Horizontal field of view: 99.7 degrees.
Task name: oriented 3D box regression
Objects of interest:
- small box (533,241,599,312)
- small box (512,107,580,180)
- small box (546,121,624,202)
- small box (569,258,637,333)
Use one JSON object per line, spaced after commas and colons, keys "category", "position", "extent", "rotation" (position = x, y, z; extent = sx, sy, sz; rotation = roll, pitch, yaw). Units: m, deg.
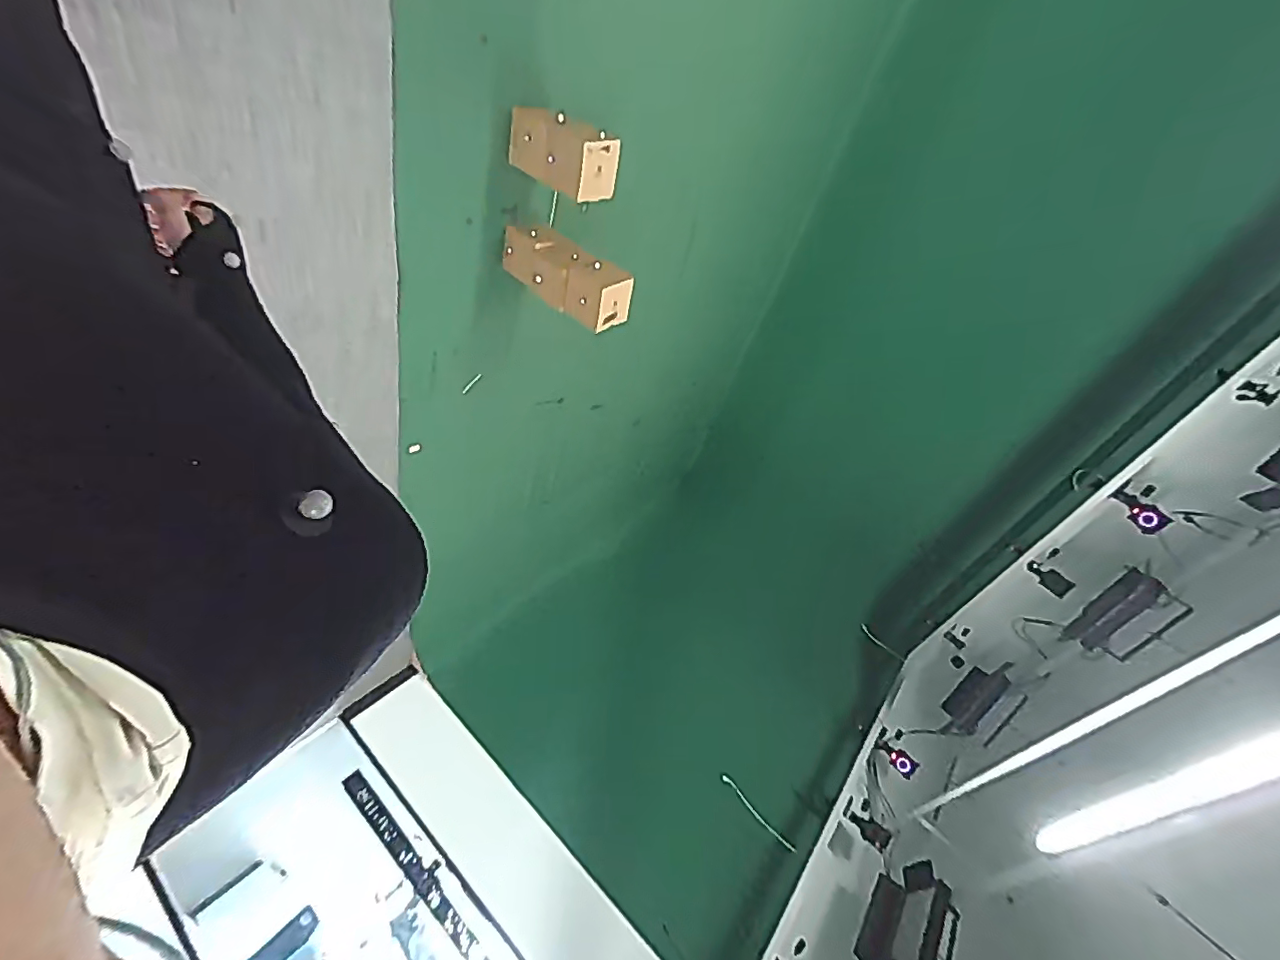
{"category": "small box", "position": [-0.270, -0.752, 1.986], "extent": [0.179, 0.176, 0.168], "rotation": [-35, 154, -34]}
{"category": "small box", "position": [-0.302, -1.111, 1.788], "extent": [0.179, 0.176, 0.168], "rotation": [-32, 152, -41]}
{"category": "small box", "position": [-0.181, -1.019, 1.728], "extent": [0.168, 0.176, 0.179], "rotation": [-34, 154, -39]}
{"category": "small box", "position": [-0.139, -0.663, 1.937], "extent": [0.168, 0.176, 0.179], "rotation": [-35, 153, -36]}
